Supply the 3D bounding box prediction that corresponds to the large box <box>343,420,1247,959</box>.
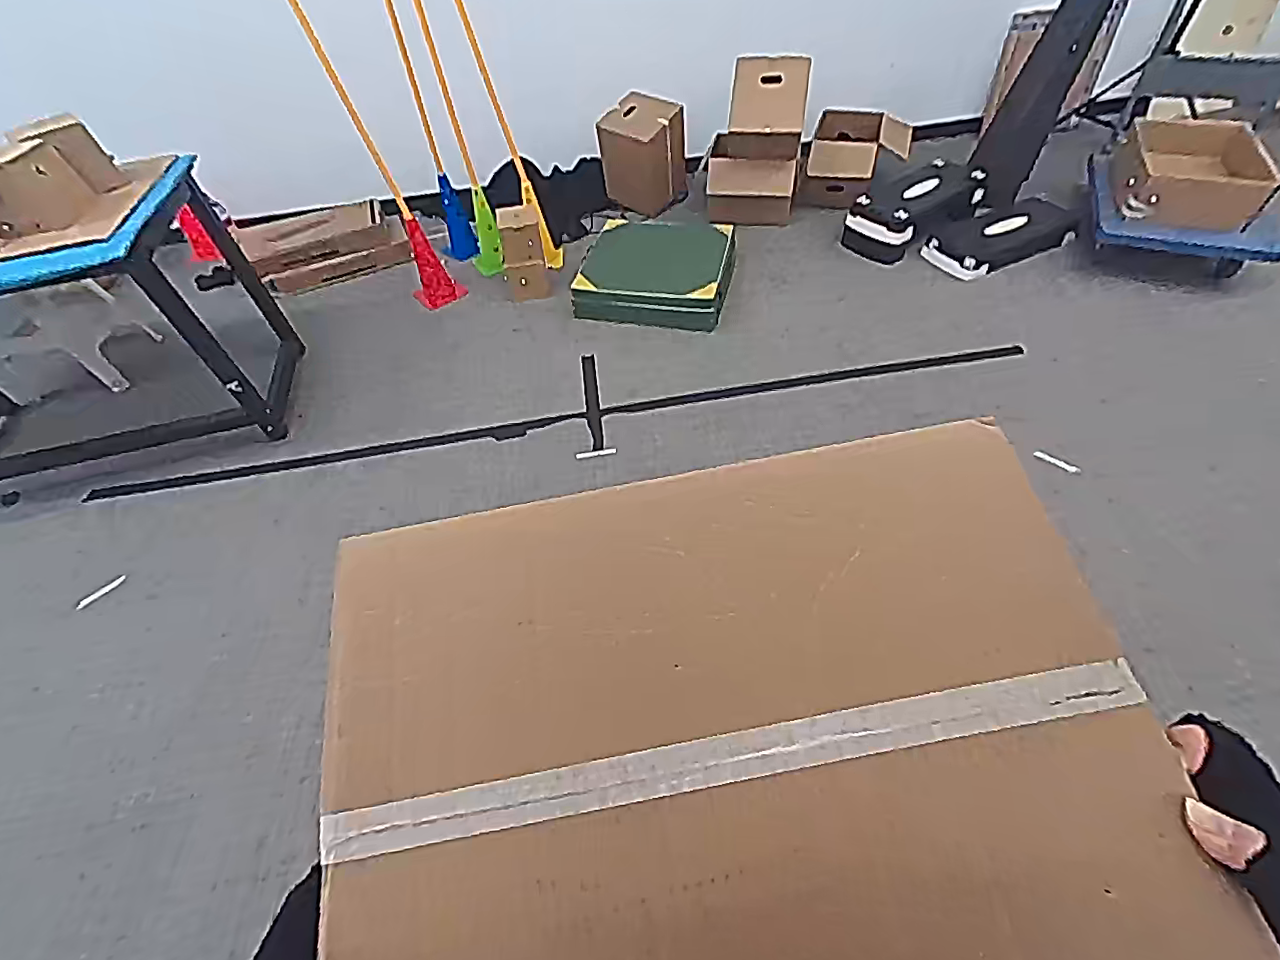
[{"bbox_3d":[0.053,0.197,0.417,0.408,0.320,0.320,-11,66,0],"label":"large box"}]
